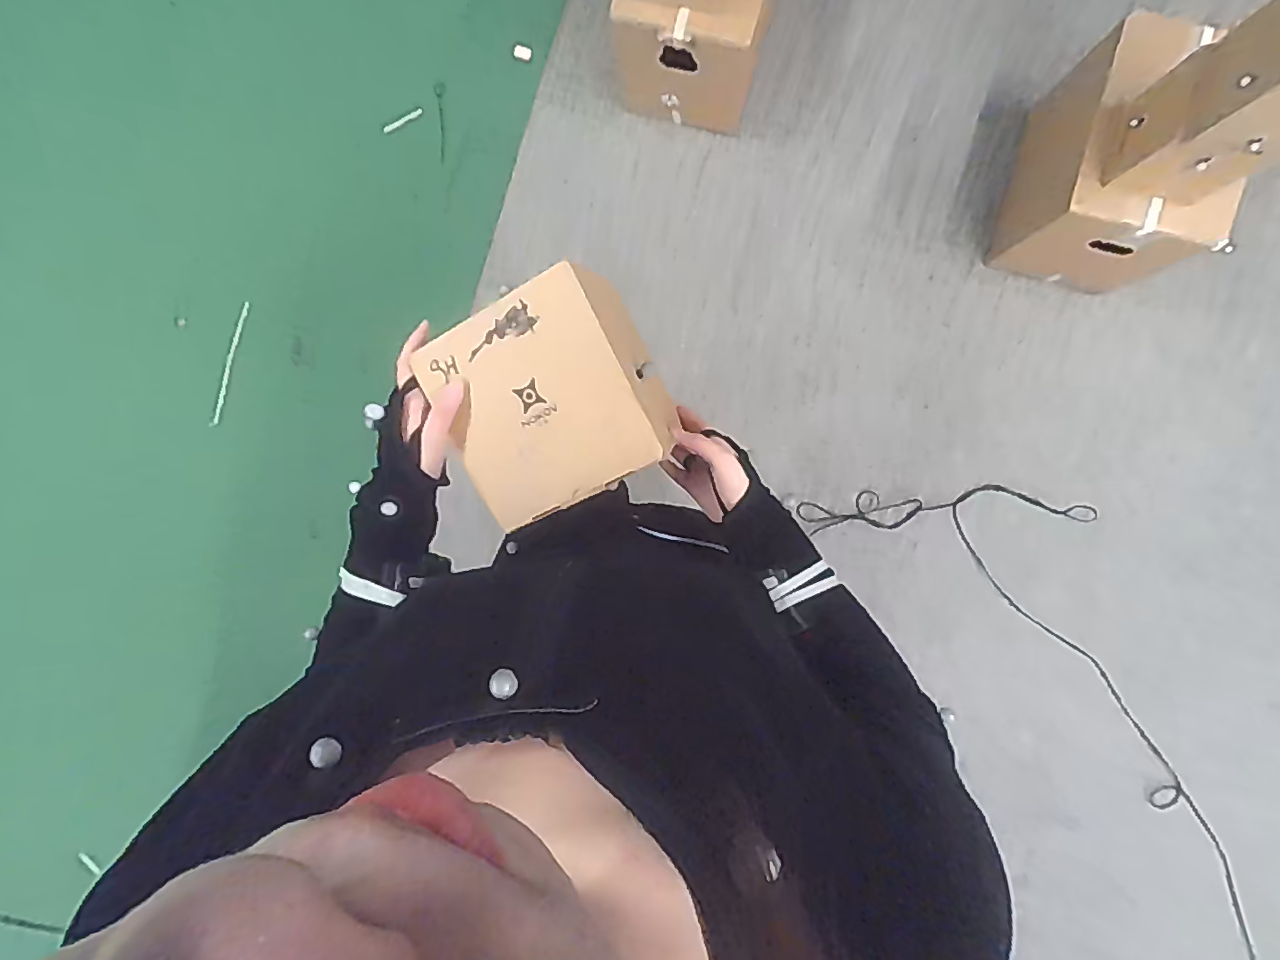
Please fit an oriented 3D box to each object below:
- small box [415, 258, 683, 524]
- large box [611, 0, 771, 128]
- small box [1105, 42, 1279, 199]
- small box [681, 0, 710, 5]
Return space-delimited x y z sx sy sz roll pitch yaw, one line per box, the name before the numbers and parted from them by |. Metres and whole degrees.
small box | -0.069 -0.087 0.526 0.168 0.176 0.179 -25 99 15
large box | 0.144 -1.141 1.274 0.320 0.320 0.408 16 93 3
small box | 1.023 -0.644 0.990 0.179 0.176 0.168 14 94 5
small box | 0.091 -1.069 1.035 0.179 0.176 0.168 15 92 5
